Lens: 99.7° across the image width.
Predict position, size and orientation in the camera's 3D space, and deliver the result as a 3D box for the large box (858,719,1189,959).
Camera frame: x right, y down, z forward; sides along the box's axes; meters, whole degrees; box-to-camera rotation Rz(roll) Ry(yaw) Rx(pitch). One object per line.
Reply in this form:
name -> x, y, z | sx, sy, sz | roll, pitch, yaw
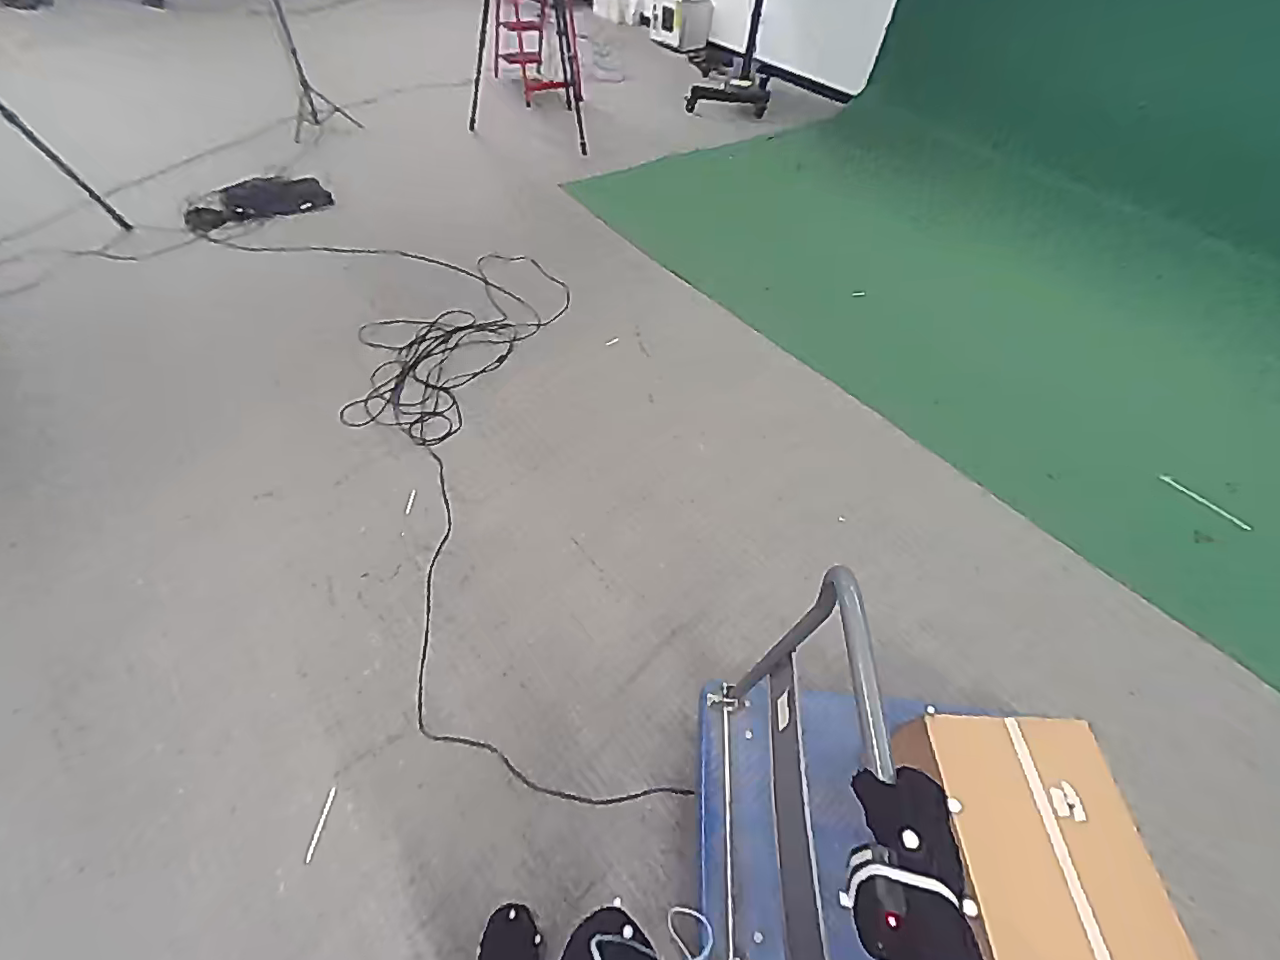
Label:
large box -> 0.642, 0.690, 0.977 | 0.320, 0.320, 0.408 | 4, 50, -4
